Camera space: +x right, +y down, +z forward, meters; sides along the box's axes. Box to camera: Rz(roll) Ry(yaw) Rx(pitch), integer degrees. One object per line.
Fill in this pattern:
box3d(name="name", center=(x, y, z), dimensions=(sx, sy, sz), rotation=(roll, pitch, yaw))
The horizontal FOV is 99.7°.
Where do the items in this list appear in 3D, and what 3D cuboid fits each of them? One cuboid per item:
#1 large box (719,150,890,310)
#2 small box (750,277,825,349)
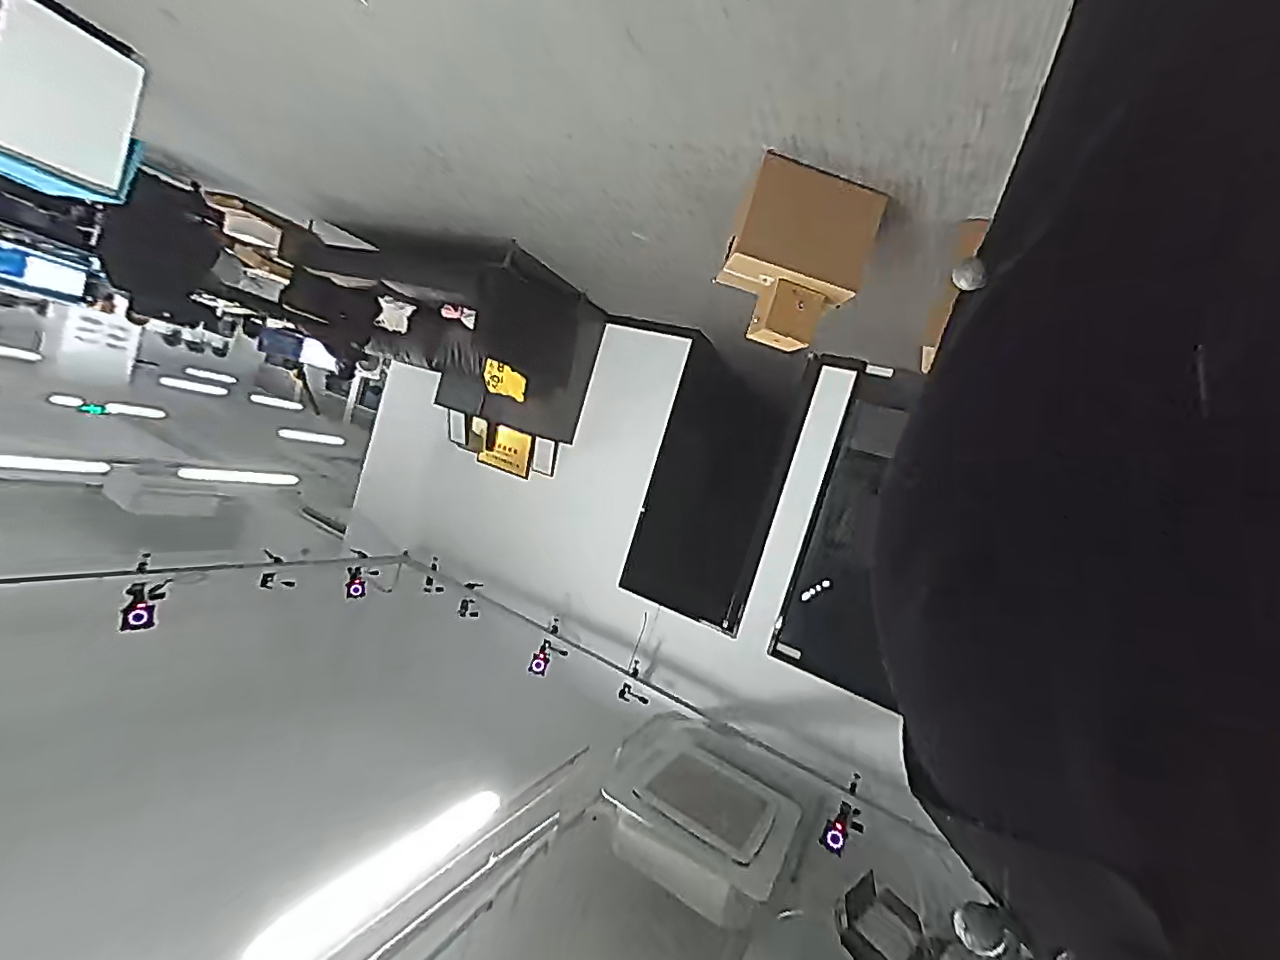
box3d(name="large box", center=(0.519, -0.796, 1.768), dimensions=(0.408, 0.320, 0.320), rotation=(18, -177, -4))
box3d(name="small box", center=(0.490, -0.552, 1.797), dimensions=(0.168, 0.176, 0.179), rotation=(16, -175, -8))
